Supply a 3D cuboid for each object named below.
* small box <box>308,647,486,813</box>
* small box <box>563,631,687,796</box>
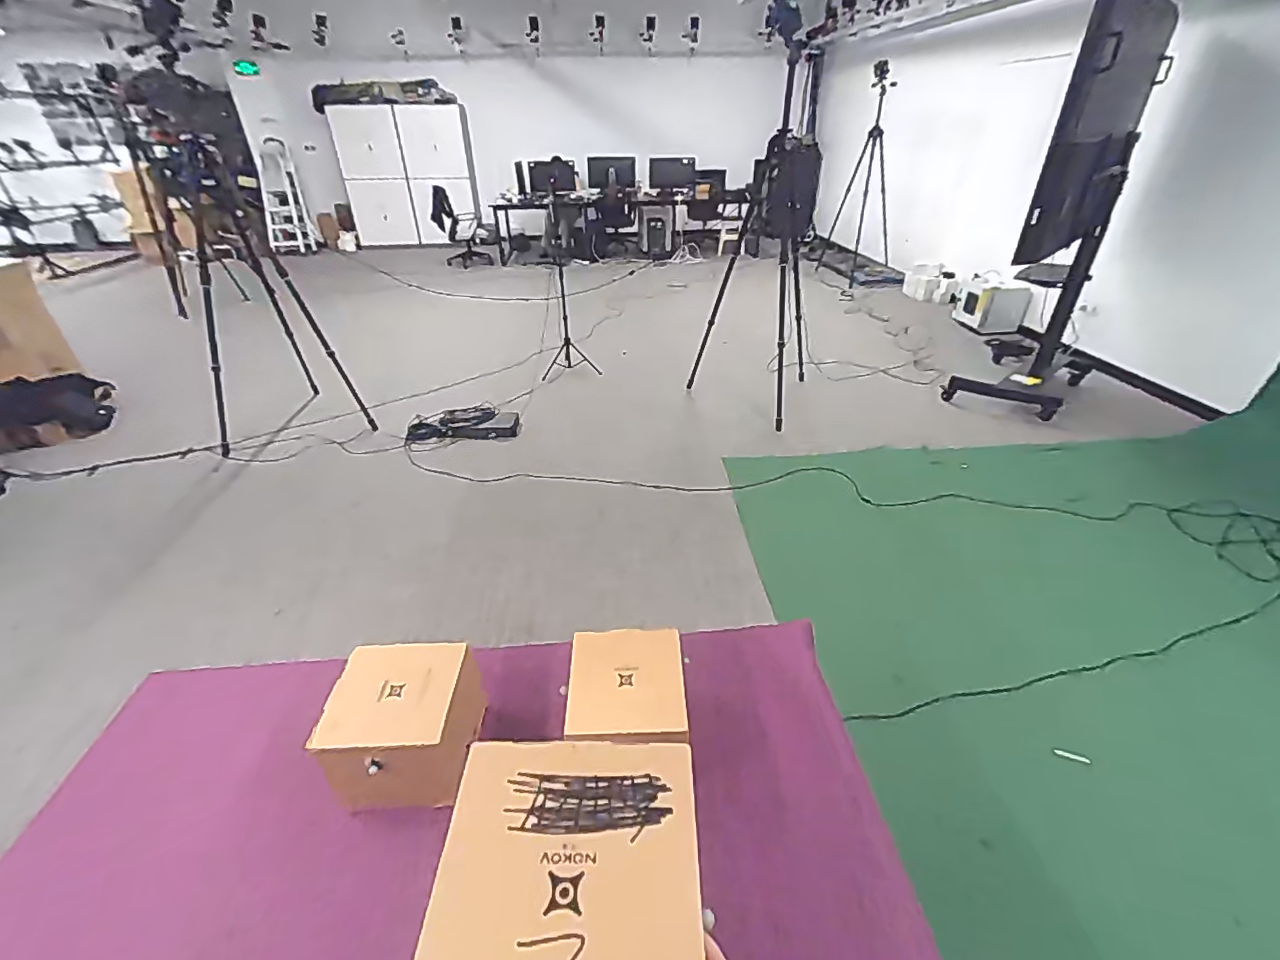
[{"bbox_3d":[-0.345,0.373,0.808,0.179,0.176,0.168,-1,33,-1],"label":"small box"},{"bbox_3d":[-0.017,0.355,0.819,0.168,0.176,0.179,-2,32,0],"label":"small box"}]
